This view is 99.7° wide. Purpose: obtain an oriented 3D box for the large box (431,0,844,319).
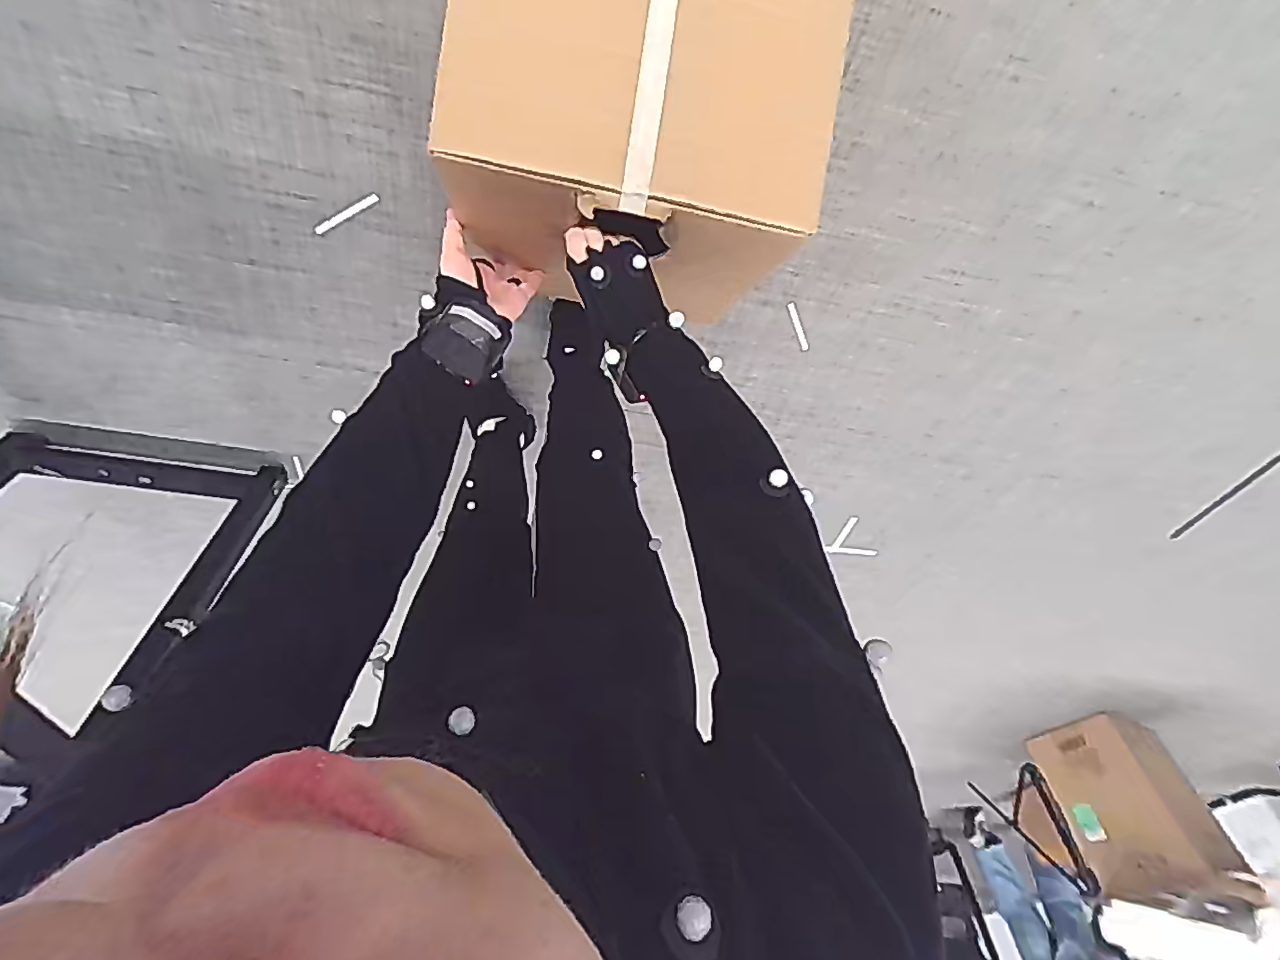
[{"bbox_3d":[-0.001,-0.425,0.568,0.320,0.320,0.408,8,90,-9],"label":"large box"}]
